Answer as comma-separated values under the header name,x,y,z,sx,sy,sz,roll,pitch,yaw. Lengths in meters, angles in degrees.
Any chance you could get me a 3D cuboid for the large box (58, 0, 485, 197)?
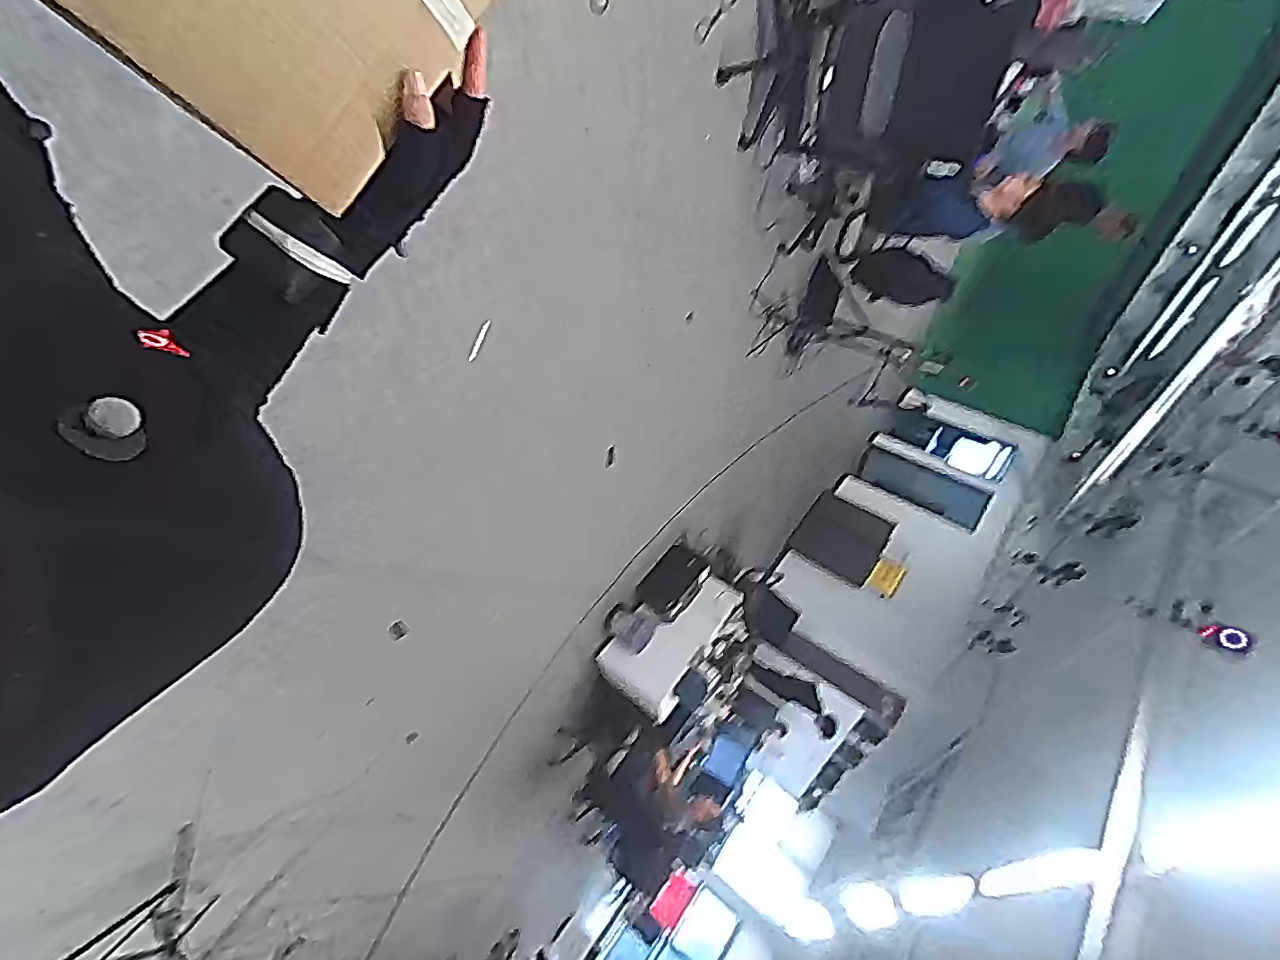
name,x,y,z,sx,sy,sz,roll,pitch,yaw
large box,-0.317,-0.458,0.297,0.320,0.320,0.408,-52,150,3
